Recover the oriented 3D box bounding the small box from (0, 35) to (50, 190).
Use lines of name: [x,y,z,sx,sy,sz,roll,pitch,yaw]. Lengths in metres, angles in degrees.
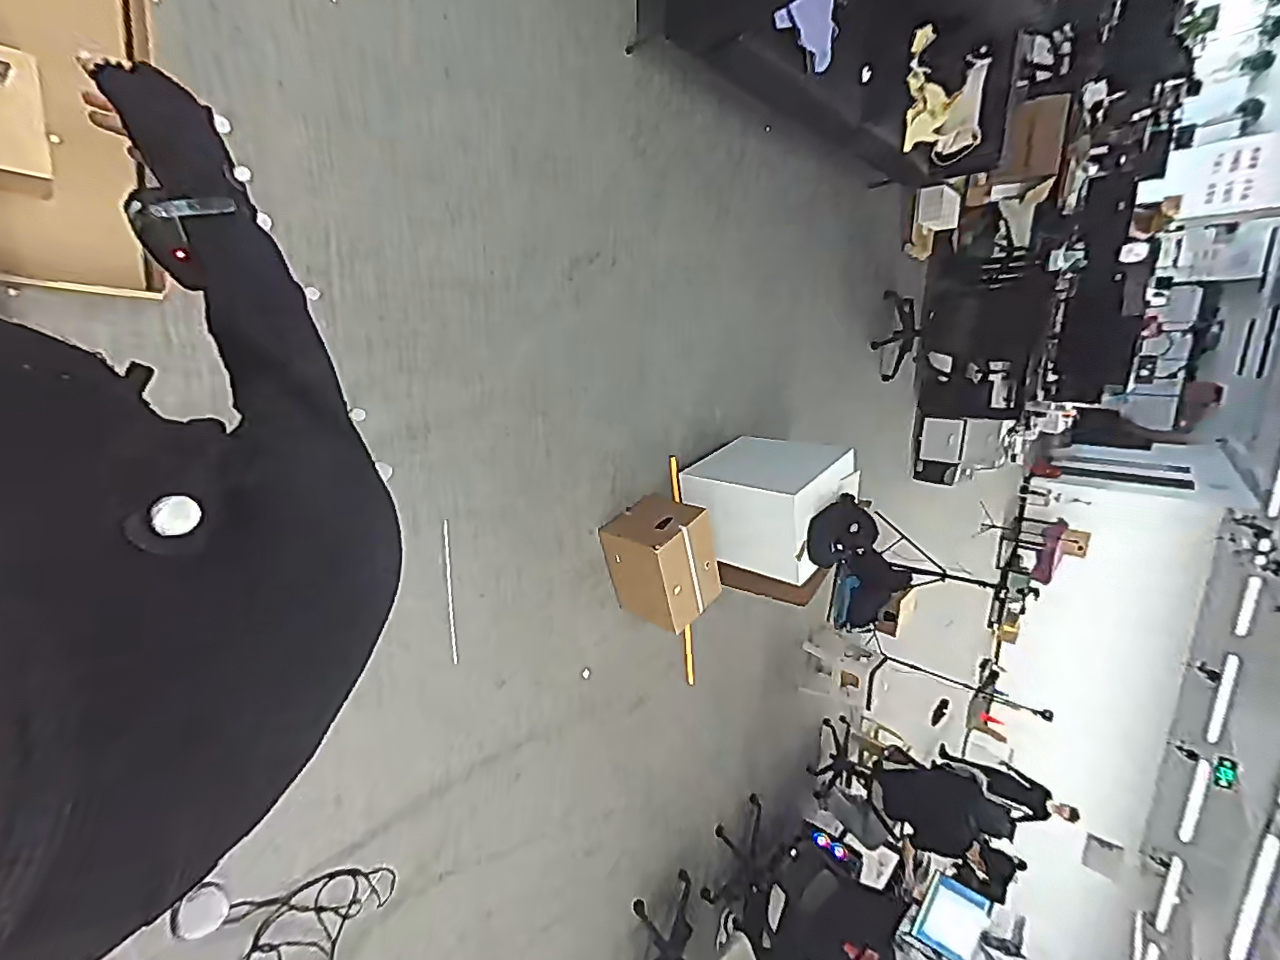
small box: [-1.019,-0.562,0.808,0.168,0.176,0.179,-9,106,-47]
